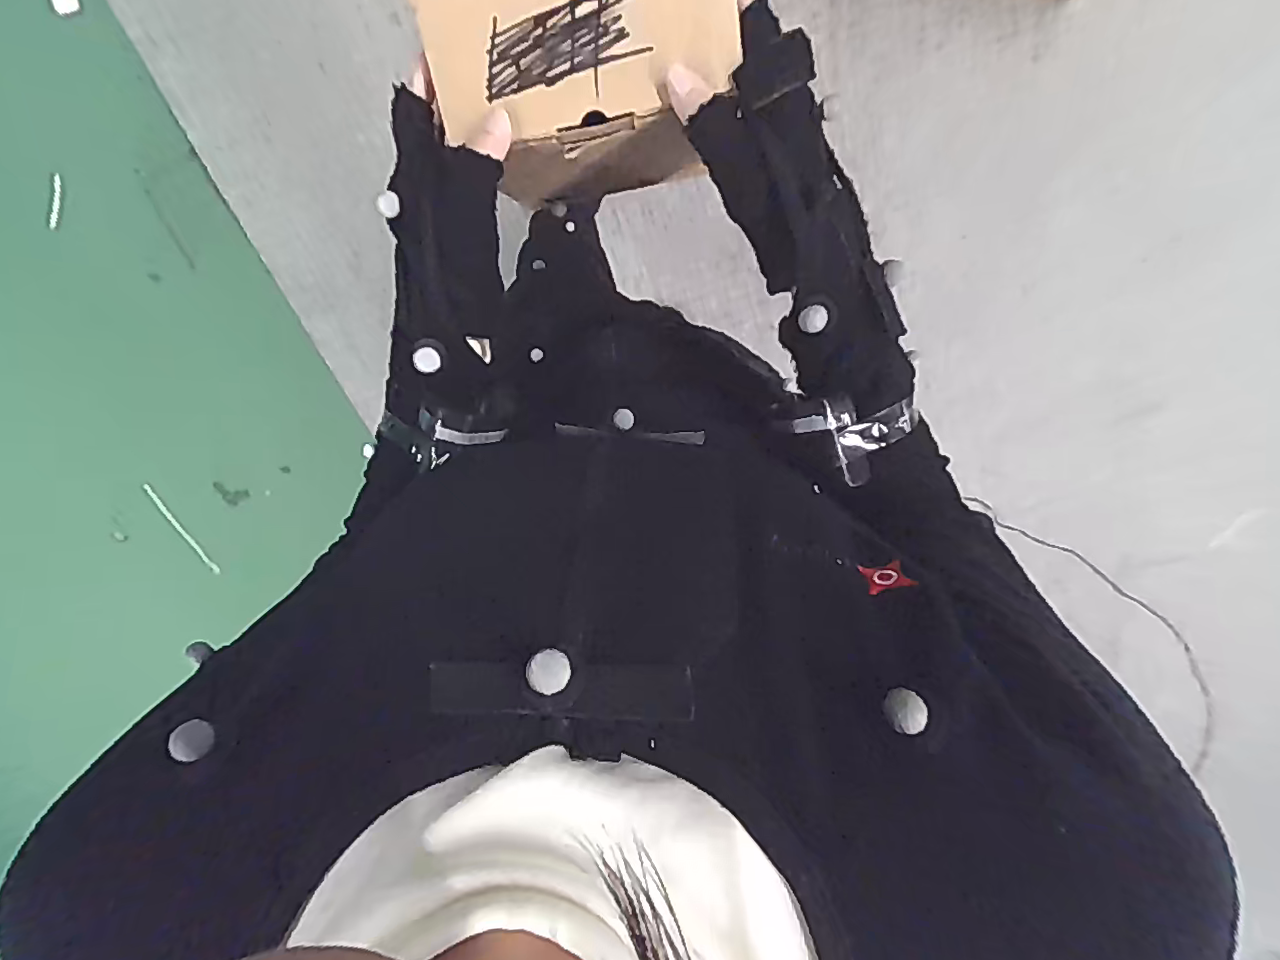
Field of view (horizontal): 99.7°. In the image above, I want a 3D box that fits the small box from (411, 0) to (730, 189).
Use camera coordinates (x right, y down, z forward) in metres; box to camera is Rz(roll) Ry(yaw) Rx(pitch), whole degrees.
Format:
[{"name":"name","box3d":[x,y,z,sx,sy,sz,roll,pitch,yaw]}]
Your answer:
[{"name":"small box","box3d":[-0.037,-0.305,0.346,0.168,0.176,0.179,-8,105,7]}]
